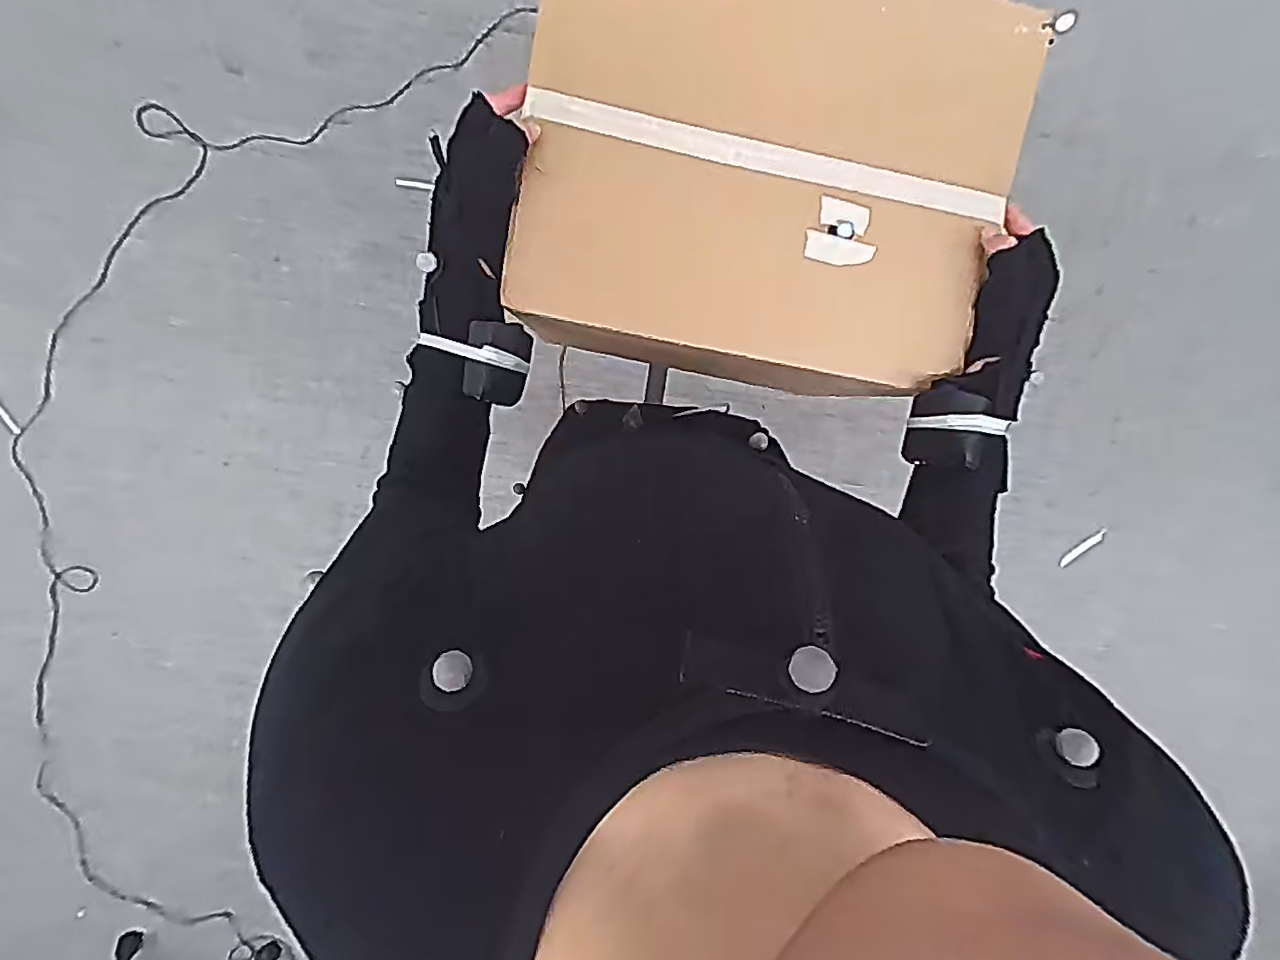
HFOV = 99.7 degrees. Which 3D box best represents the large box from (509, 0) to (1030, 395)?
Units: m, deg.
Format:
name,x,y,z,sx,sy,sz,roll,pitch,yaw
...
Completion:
name,x,y,z,sx,sy,sz,roll,pitch,yaw
large box,0.095,-0.282,0.599,0.408,0.320,0.320,10,100,-6
